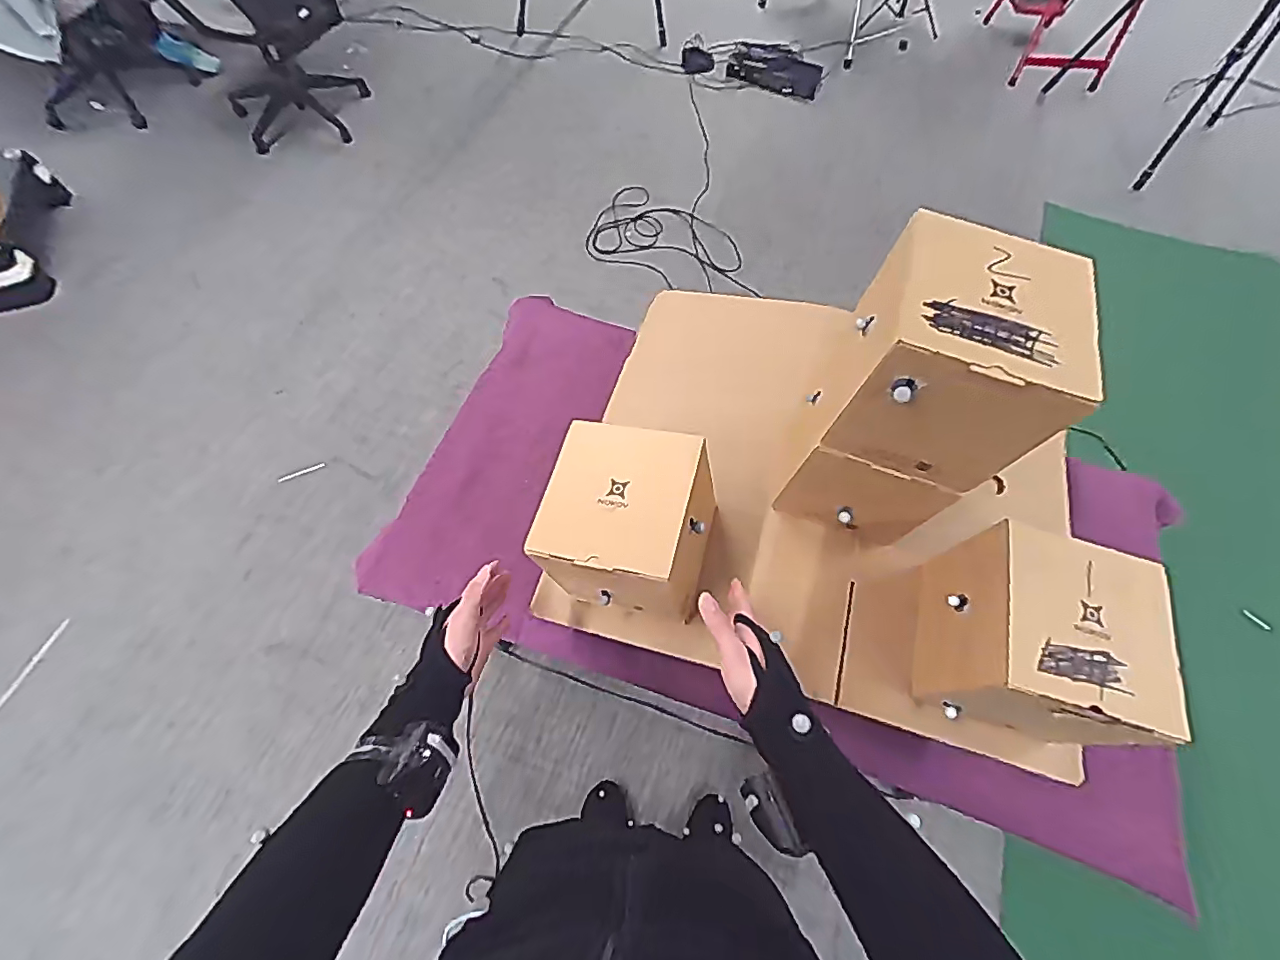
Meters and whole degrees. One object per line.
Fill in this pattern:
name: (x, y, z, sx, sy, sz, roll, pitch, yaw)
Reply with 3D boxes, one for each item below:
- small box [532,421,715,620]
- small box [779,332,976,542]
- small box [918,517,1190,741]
small box: (-0.005, 0.053, 0.662, 0.168, 0.176, 0.179, 8, 65, 16)
small box: (0.289, -0.047, 0.681, 0.168, 0.176, 0.179, 18, 64, 4)
small box: (0.429, 0.170, 0.593, 0.168, 0.176, 0.179, 18, 64, 3)
